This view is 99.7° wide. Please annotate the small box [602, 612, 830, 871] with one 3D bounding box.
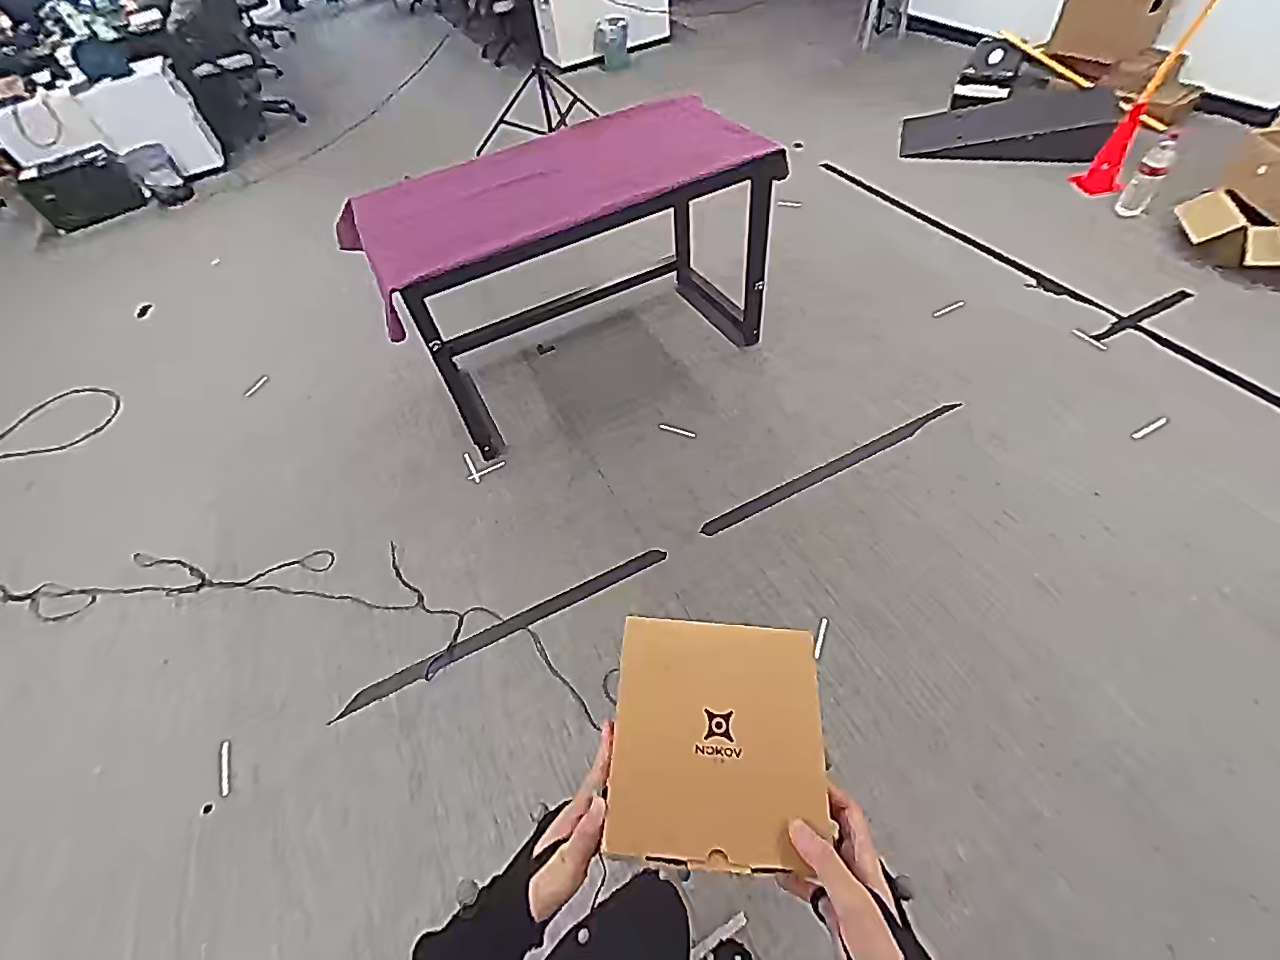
[{"bbox_3d":[0.056,0.239,0.493,0.168,0.176,0.179,5,57,1],"label":"small box"}]
